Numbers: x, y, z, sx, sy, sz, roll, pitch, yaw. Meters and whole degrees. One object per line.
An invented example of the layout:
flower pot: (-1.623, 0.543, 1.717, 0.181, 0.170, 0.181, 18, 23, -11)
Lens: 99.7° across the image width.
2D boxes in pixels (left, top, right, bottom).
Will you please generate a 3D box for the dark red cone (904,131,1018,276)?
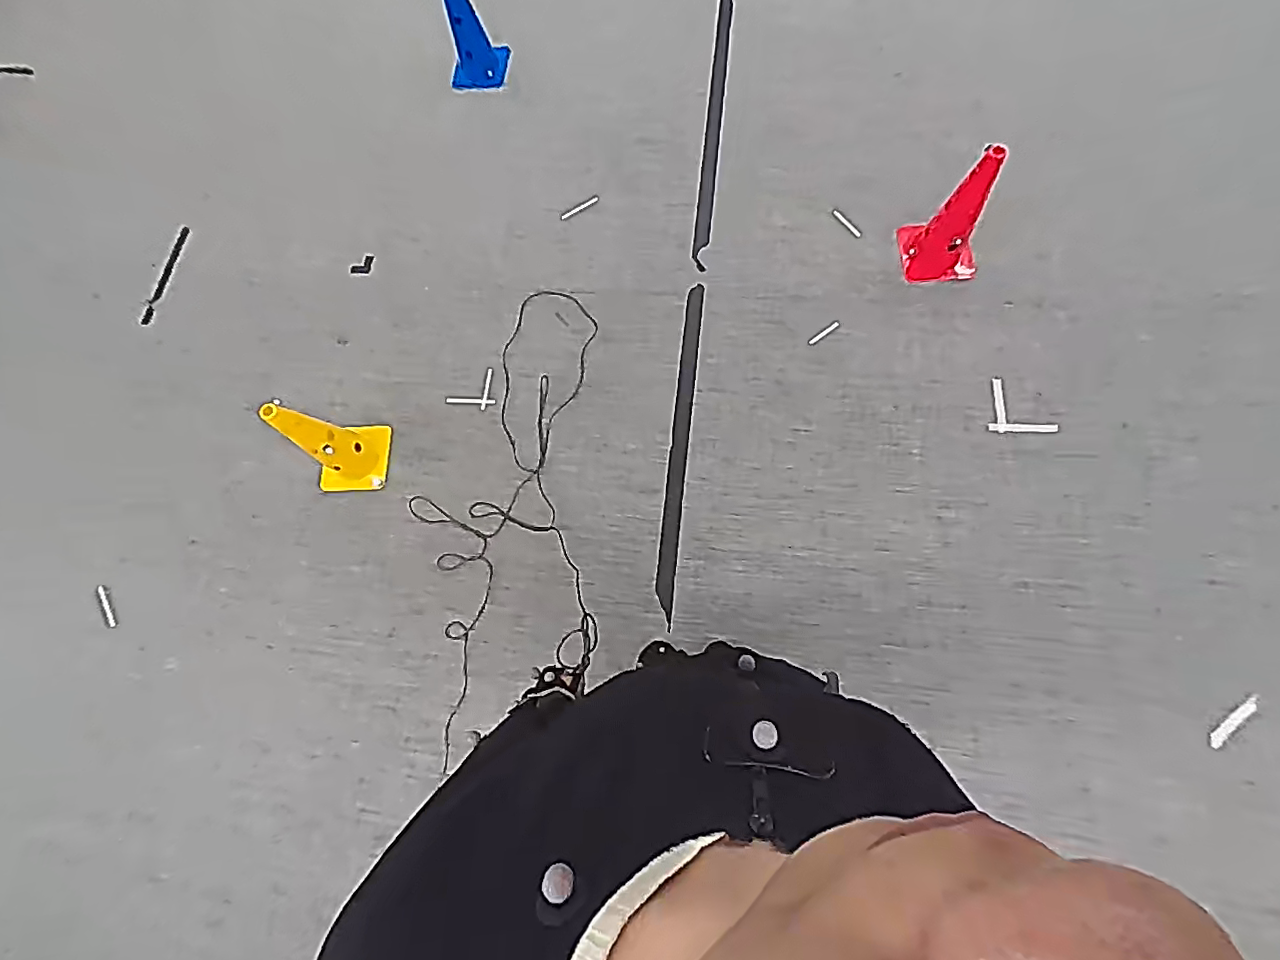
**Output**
dark red cone: (0.864, -0.731, 1.416, 0.201, 0.394, 0.202, -3, 73, 6)

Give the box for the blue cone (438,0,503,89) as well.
blue cone: (-0.623, -1.569, 1.845, 0.192, 0.380, 0.193, 5, 74, 8)
